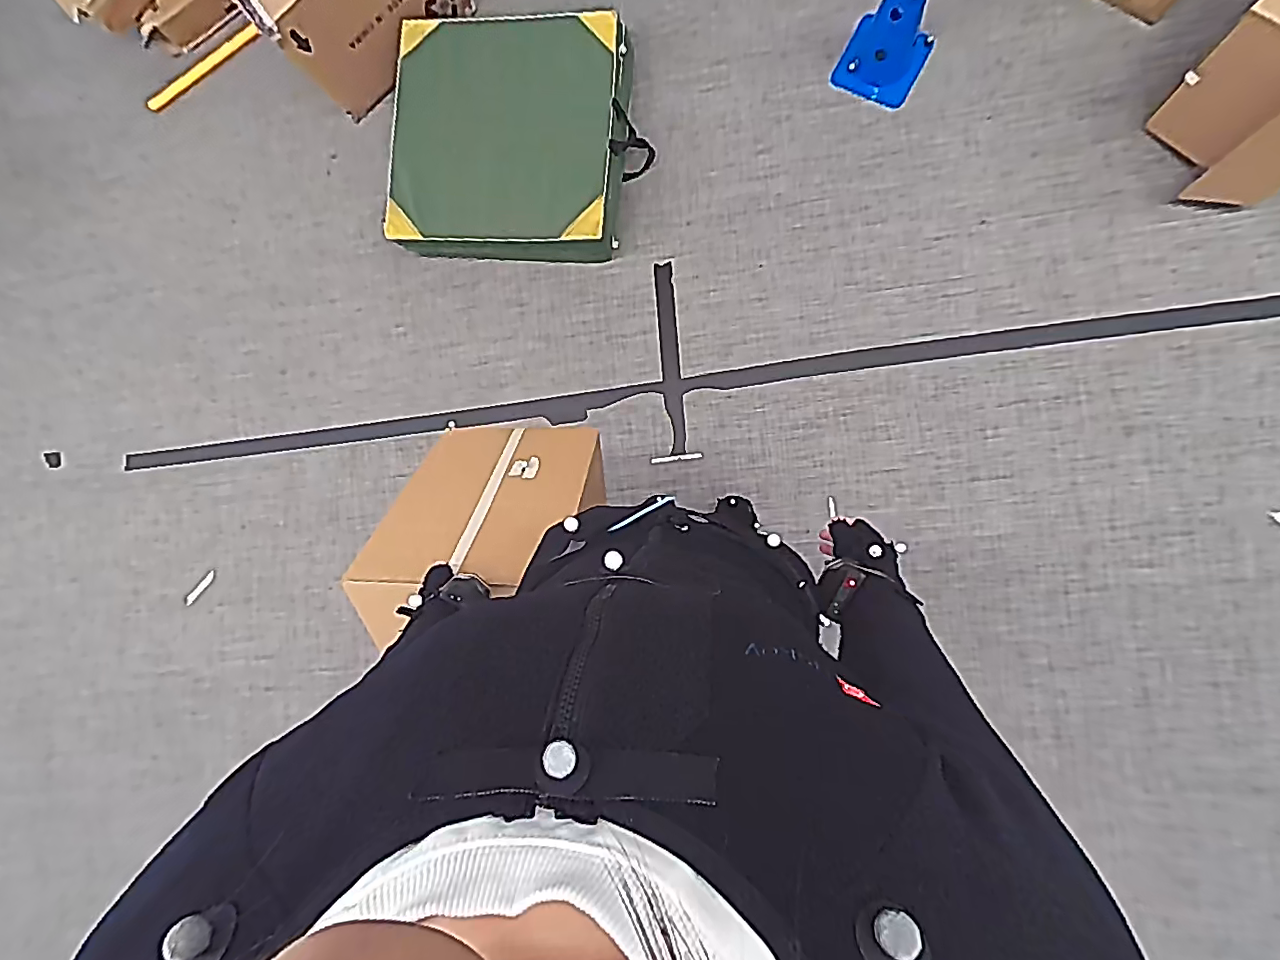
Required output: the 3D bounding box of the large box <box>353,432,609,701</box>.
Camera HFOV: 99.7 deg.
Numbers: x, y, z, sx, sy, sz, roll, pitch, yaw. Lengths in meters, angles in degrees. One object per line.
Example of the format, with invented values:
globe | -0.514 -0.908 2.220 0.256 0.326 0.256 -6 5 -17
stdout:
large box | -0.245 0.149 1.013 0.320 0.408 0.320 2 127 6
